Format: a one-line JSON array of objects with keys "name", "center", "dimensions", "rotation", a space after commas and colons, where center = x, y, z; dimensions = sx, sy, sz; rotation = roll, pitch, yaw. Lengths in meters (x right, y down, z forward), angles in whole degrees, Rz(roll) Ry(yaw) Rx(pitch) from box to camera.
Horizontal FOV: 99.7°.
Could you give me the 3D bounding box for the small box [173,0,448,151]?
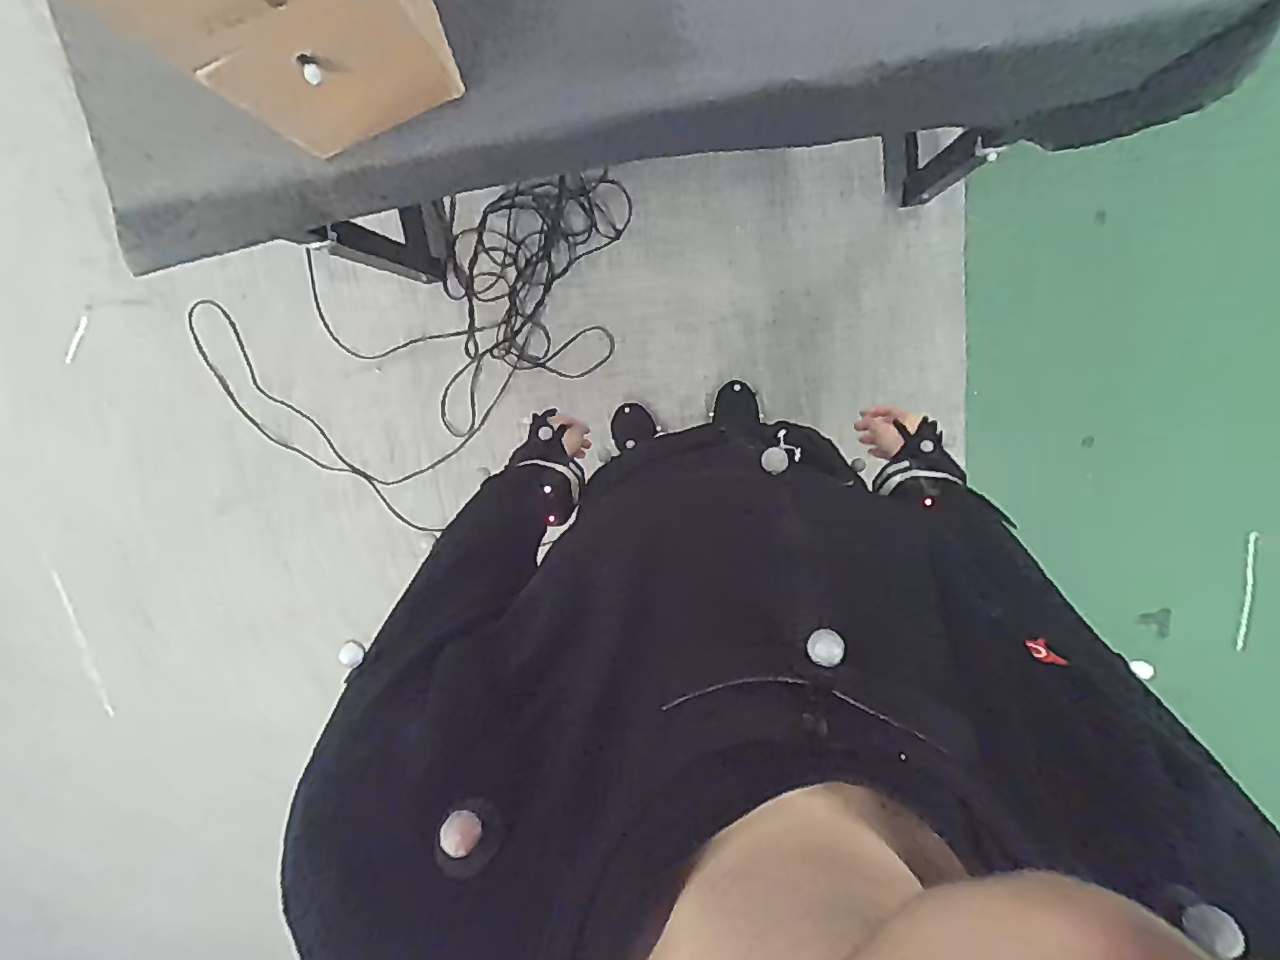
[{"name": "small box", "center": [-0.293, -0.432, 0.475], "dimensions": [0.179, 0.176, 0.168], "rotation": [-18, 99, 8]}]
